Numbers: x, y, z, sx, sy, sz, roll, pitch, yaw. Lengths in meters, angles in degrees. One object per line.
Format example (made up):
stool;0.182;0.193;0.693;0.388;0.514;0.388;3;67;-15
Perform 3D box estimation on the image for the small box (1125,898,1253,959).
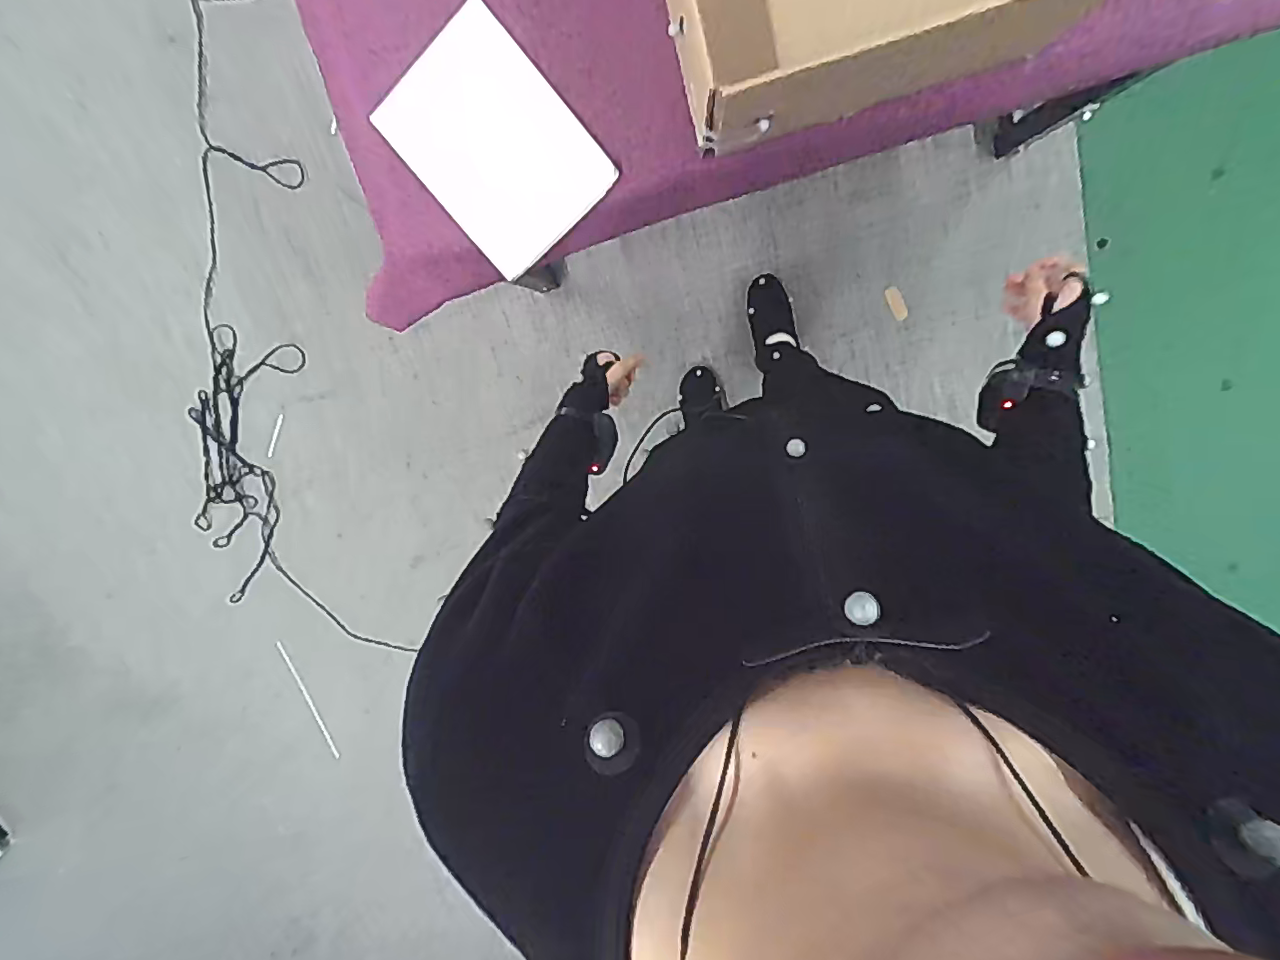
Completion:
small box;1.298;1.125;1.262;0.168;0.176;0.179;-28;99;12
